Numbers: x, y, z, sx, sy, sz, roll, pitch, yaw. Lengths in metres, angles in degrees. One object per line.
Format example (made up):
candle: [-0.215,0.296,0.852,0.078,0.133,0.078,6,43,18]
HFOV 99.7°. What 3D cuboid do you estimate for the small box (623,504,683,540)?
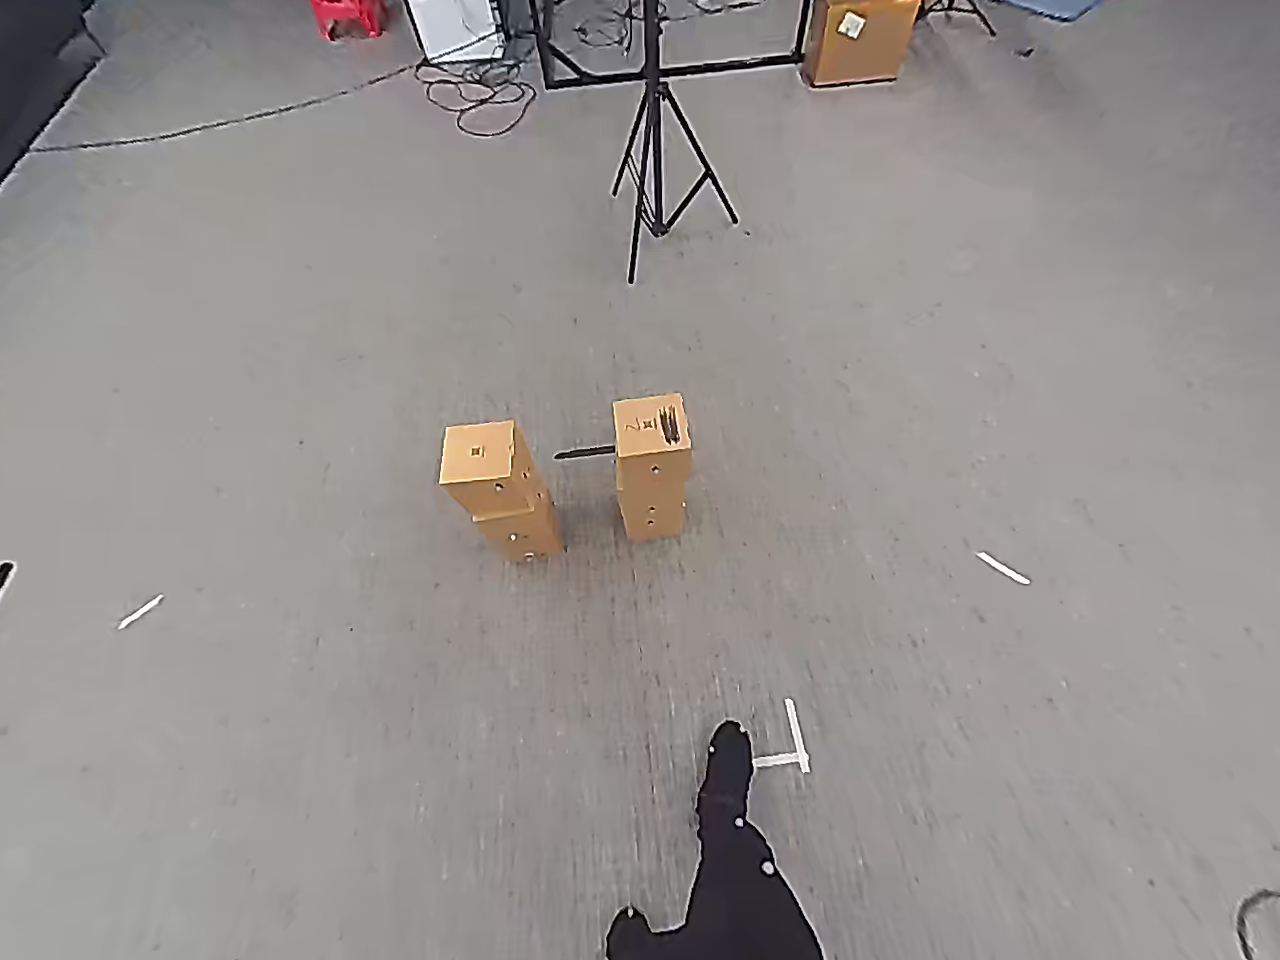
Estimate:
small box: [0.039,0.077,1.659,0.179,0.176,0.168,-4,61,1]

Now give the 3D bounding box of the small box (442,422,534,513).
small box: [-0.378,-0.025,1.371,0.179,0.176,0.168,-5,61,2]

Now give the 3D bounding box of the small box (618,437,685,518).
small box: [0.030,-0.004,1.517,0.179,0.176,0.168,-3,60,1]

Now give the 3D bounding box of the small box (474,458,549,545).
small box: [-0.354,0.062,1.507,0.168,0.176,0.179,-10,61,0]

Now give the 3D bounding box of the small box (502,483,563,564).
small box: [-0.337,0.136,1.652,0.168,0.176,0.179,-11,61,-2]
